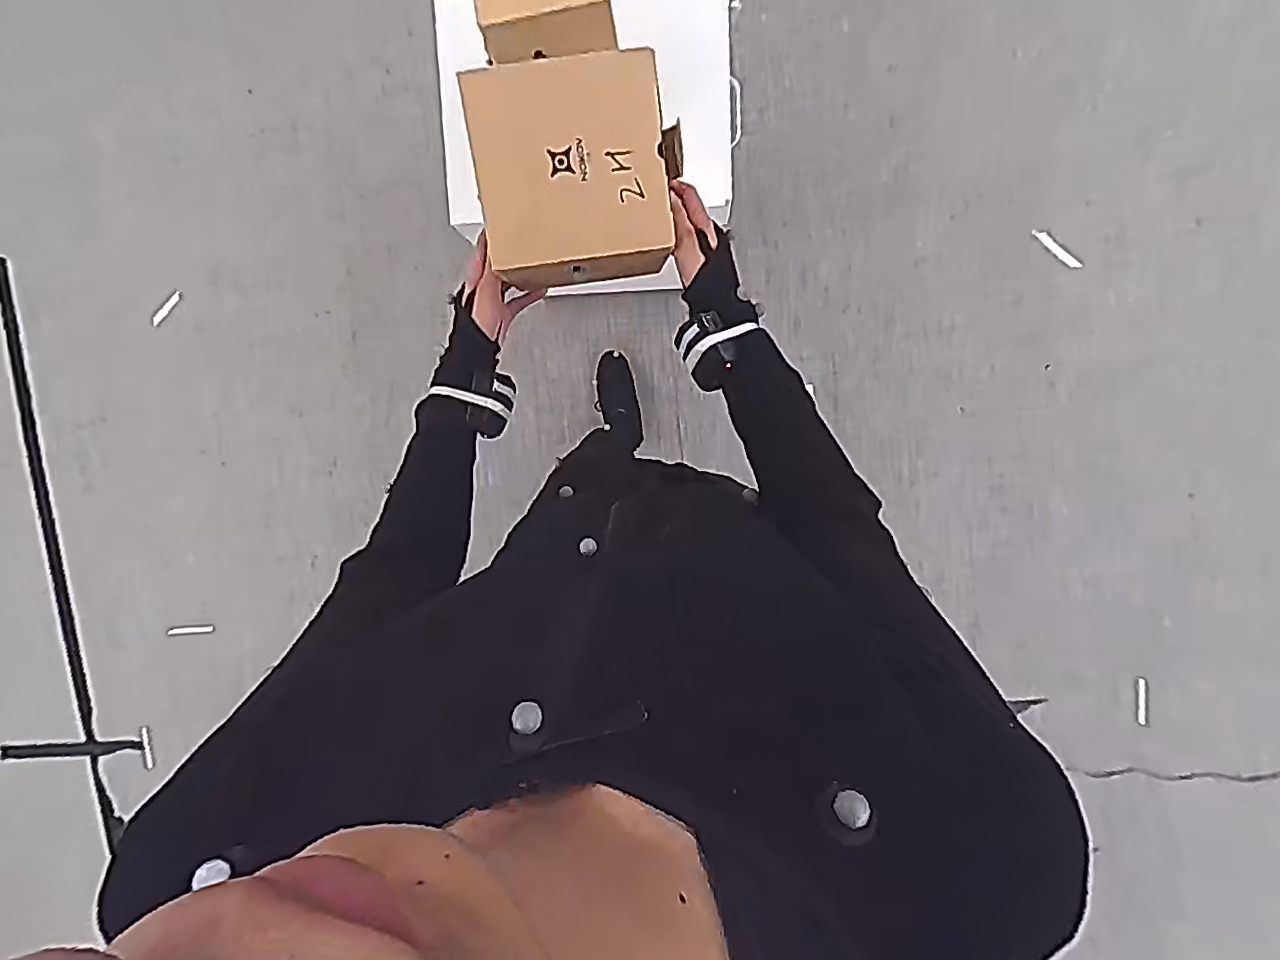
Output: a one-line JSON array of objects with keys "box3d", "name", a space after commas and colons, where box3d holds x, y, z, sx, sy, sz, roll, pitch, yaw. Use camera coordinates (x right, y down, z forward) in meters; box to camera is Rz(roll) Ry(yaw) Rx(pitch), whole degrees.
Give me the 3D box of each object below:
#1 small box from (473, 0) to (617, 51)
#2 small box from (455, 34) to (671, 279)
[{"box3d": [-0.124, -0.648, 0.721, 0.168, 0.176, 0.179, -9, 94, 4], "name": "small box"}, {"box3d": [-0.068, -0.313, 0.560, 0.179, 0.176, 0.168, -8, 103, -2], "name": "small box"}]
